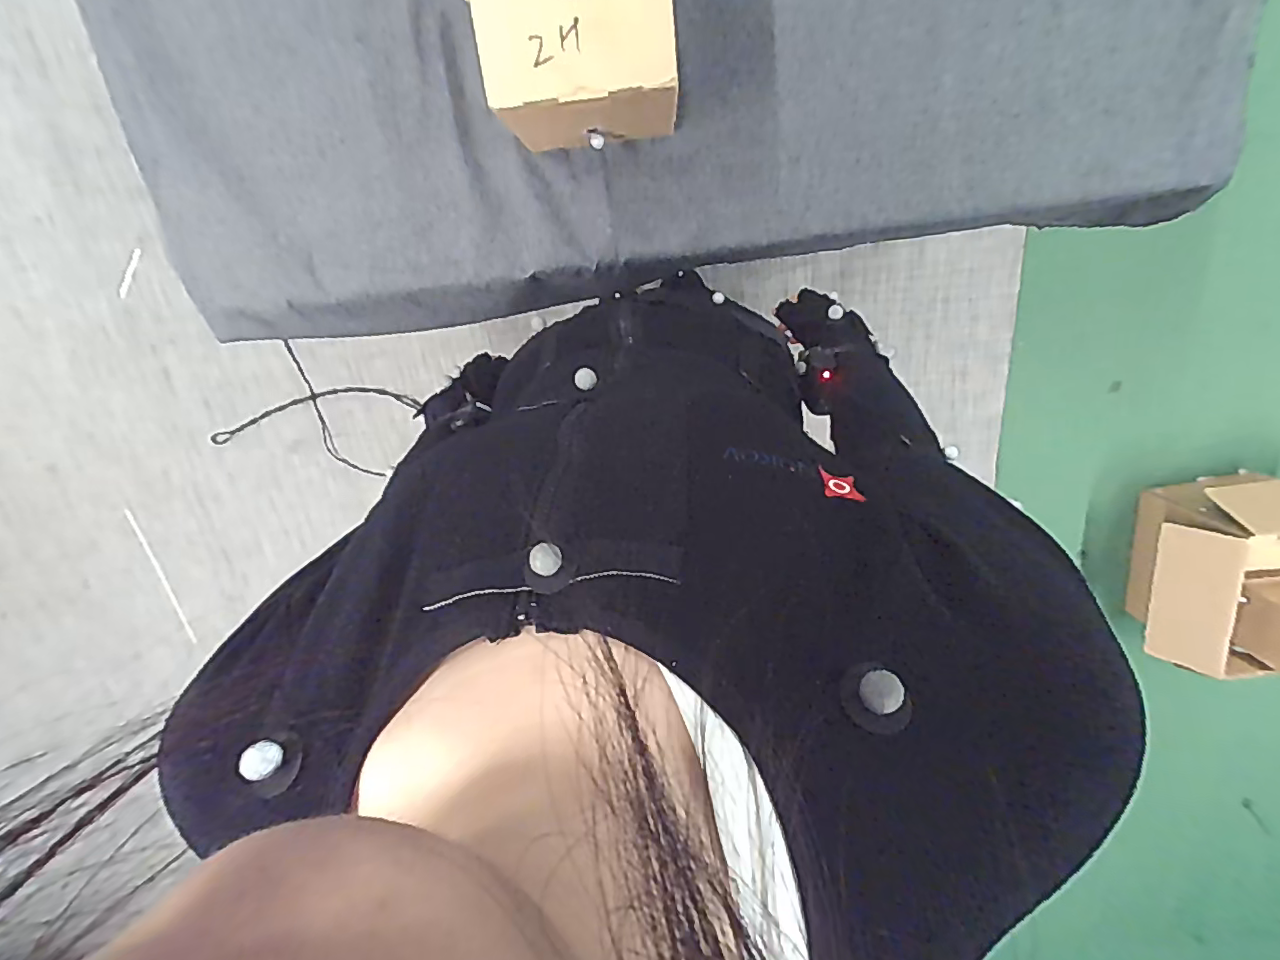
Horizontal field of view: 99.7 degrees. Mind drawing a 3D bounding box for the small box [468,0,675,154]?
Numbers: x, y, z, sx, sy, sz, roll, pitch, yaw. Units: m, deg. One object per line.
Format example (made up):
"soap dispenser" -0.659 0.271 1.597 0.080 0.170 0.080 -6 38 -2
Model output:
"small box" -0.058 -0.430 0.508 0.168 0.176 0.179 -5 111 4
